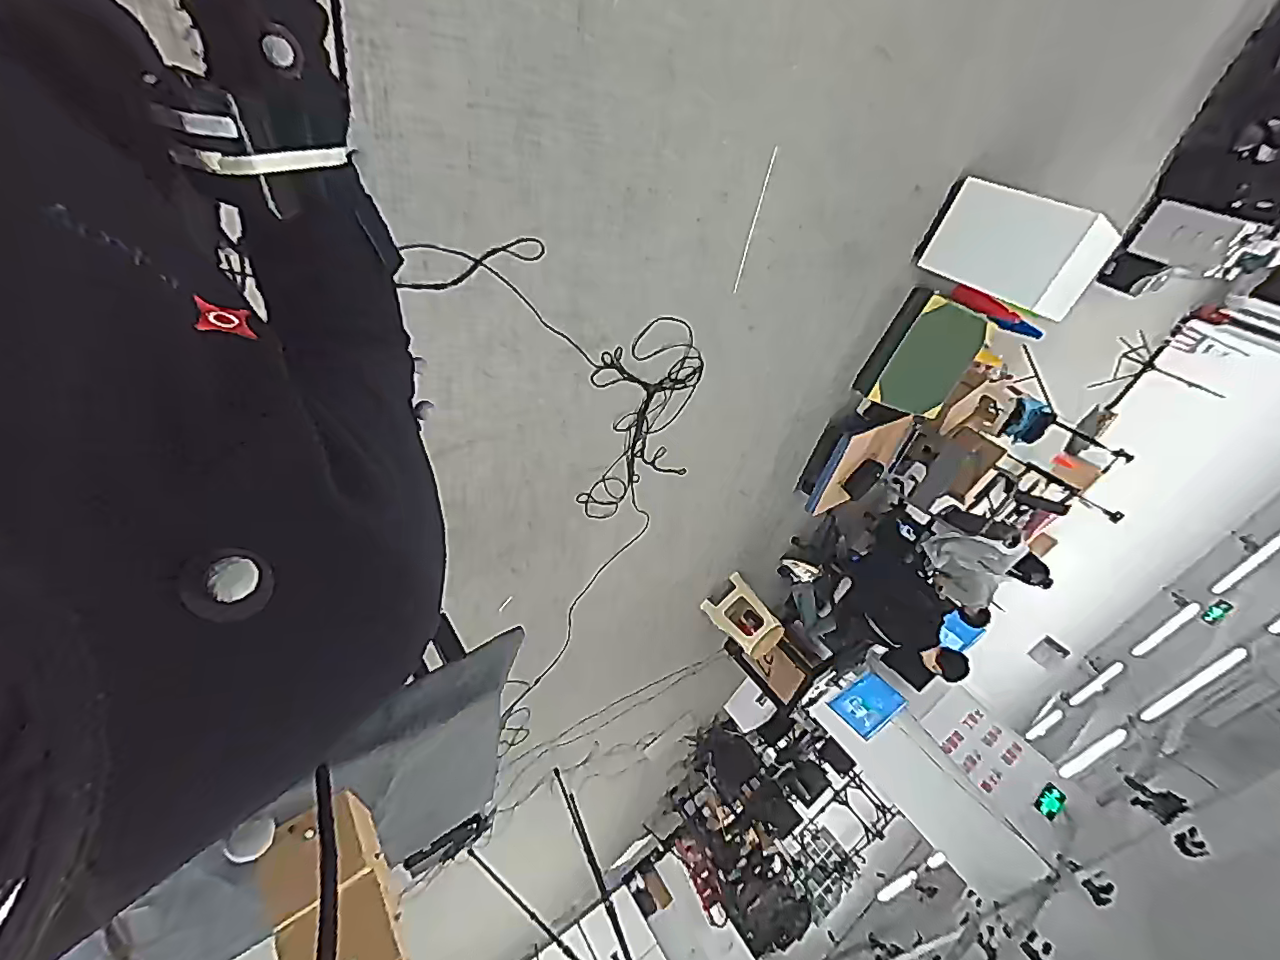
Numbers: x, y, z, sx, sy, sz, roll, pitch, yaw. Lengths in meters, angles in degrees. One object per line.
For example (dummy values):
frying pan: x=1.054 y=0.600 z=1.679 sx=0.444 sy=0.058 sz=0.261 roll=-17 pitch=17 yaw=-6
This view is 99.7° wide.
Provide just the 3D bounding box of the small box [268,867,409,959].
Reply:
small box: x=-0.553 y=0.867 z=1.001 sx=0.179 sy=0.176 sz=0.168 roll=-21 pitch=138 yaw=-30

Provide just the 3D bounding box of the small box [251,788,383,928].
small box: x=-0.643 y=0.758 z=1.083 sx=0.168 sy=0.176 sz=0.179 roll=-25 pitch=141 yaw=-28
